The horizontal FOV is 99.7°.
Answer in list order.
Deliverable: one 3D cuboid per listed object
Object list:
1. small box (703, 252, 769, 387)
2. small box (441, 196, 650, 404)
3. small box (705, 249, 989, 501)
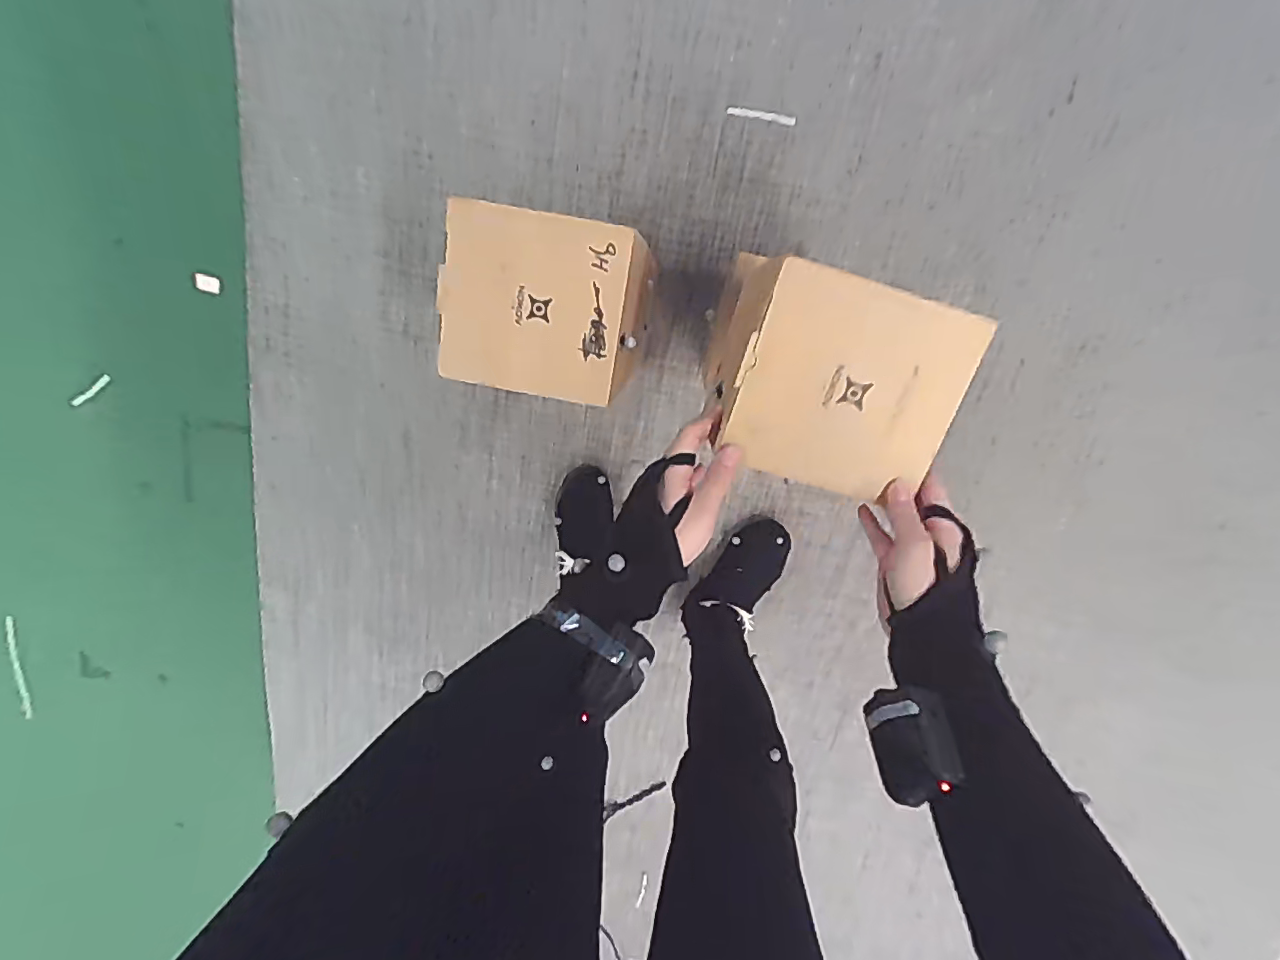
[{"bbox_3d":[0.190,-0.196,0.728,0.179,0.176,0.168,14,108,2],"label":"small box"},{"bbox_3d":[-0.093,-0.190,0.590,0.179,0.176,0.168,11,108,2],"label":"small box"},{"bbox_3d":[0.169,-0.102,0.513,0.179,0.176,0.168,16,108,-3],"label":"small box"}]
